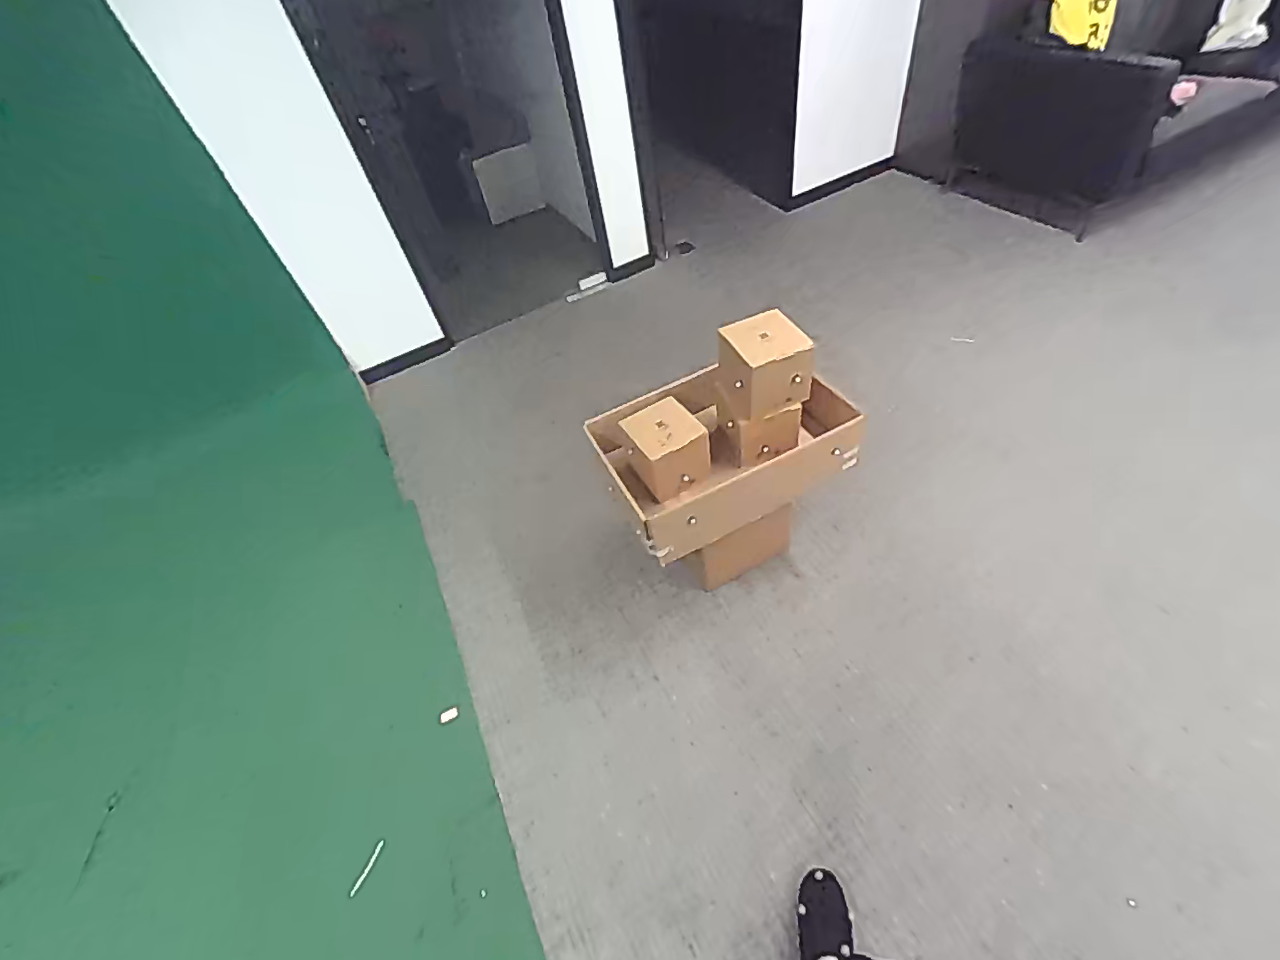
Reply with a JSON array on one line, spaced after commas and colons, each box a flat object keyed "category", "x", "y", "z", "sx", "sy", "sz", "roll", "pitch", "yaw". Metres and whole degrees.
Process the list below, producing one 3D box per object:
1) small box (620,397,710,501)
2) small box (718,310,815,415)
[{"category": "small box", "x": 0.066, "y": -0.078, "z": 1.403, "sx": 0.168, "sy": 0.176, "sz": 0.179, "roll": -28, "pitch": 50, "yaw": -13}, {"category": "small box", "x": 0.304, "y": -0.278, "z": 1.318, "sx": 0.168, "sy": 0.176, "sz": 0.179, "roll": -20, "pitch": 49, "yaw": -8}]
